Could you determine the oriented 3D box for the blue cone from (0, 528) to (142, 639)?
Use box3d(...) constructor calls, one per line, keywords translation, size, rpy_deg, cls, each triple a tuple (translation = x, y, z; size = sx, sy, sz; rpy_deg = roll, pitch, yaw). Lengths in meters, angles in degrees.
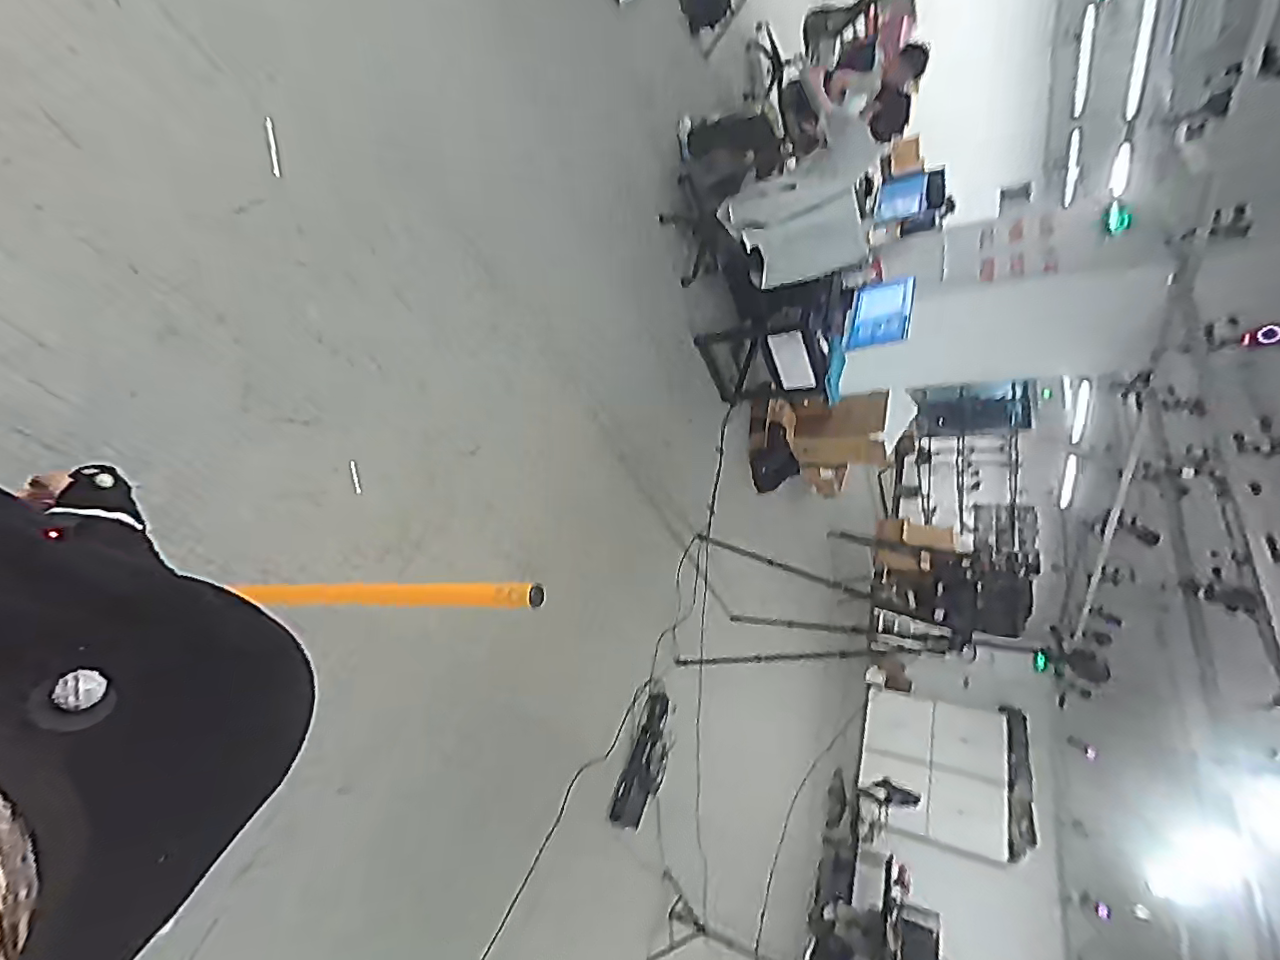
box3d(translation=(-1.005, 0.194, 0.983), size=(0.193, 0.380, 0.192), rpy_deg=(-7, 96, -60), cls="blue cone")
